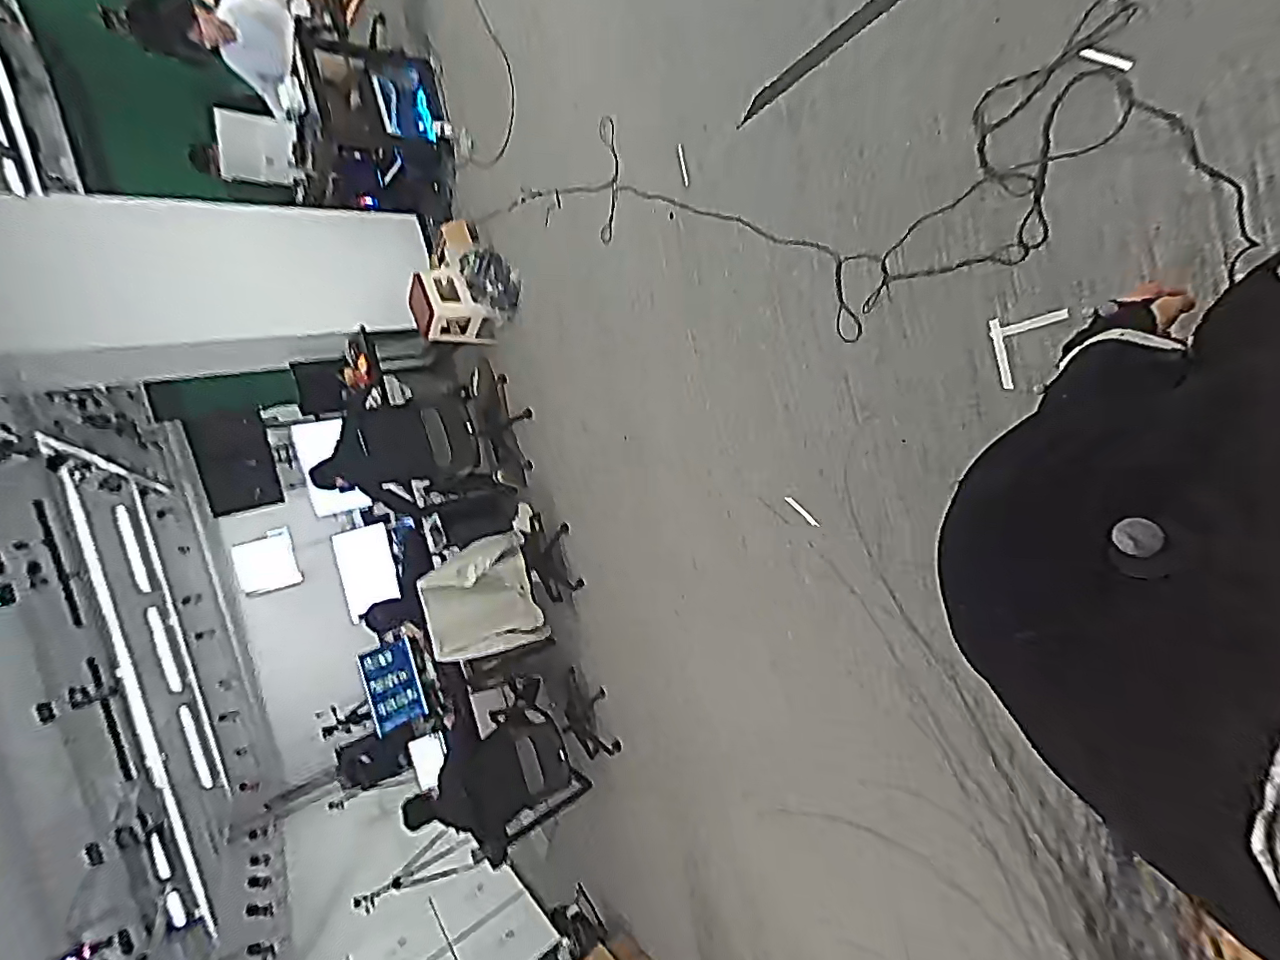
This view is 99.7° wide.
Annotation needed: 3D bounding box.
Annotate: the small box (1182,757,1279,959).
[{"bbox_3d":[0.766,0.465,0.631,0.168,0.176,0.179,-3,101,54],"label":"small box"}]
